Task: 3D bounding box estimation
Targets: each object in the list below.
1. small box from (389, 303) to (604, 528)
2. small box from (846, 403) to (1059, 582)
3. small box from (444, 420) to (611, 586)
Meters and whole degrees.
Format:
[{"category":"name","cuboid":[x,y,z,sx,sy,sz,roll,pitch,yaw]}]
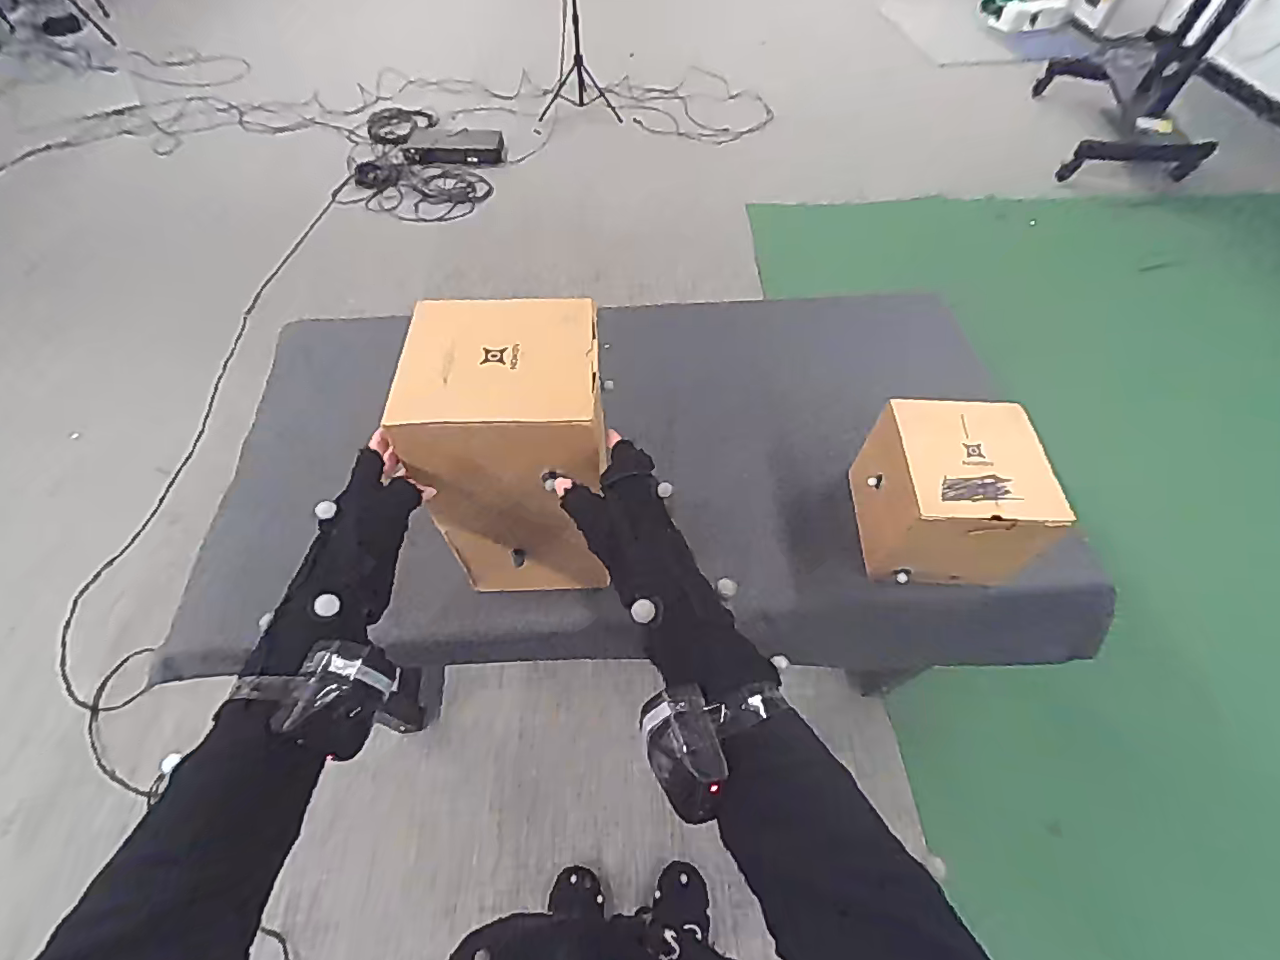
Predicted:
[{"category":"small box","cuboid":[-0.127,-0.062,0.563,0.179,0.176,0.168,-2,53,-1]},{"category":"small box","cuboid":[0.386,0.021,0.708,0.168,0.176,0.179,3,55,2]},{"category":"small box","cuboid":[-0.129,0.029,0.698,0.179,0.176,0.168,-2,55,-2]}]
